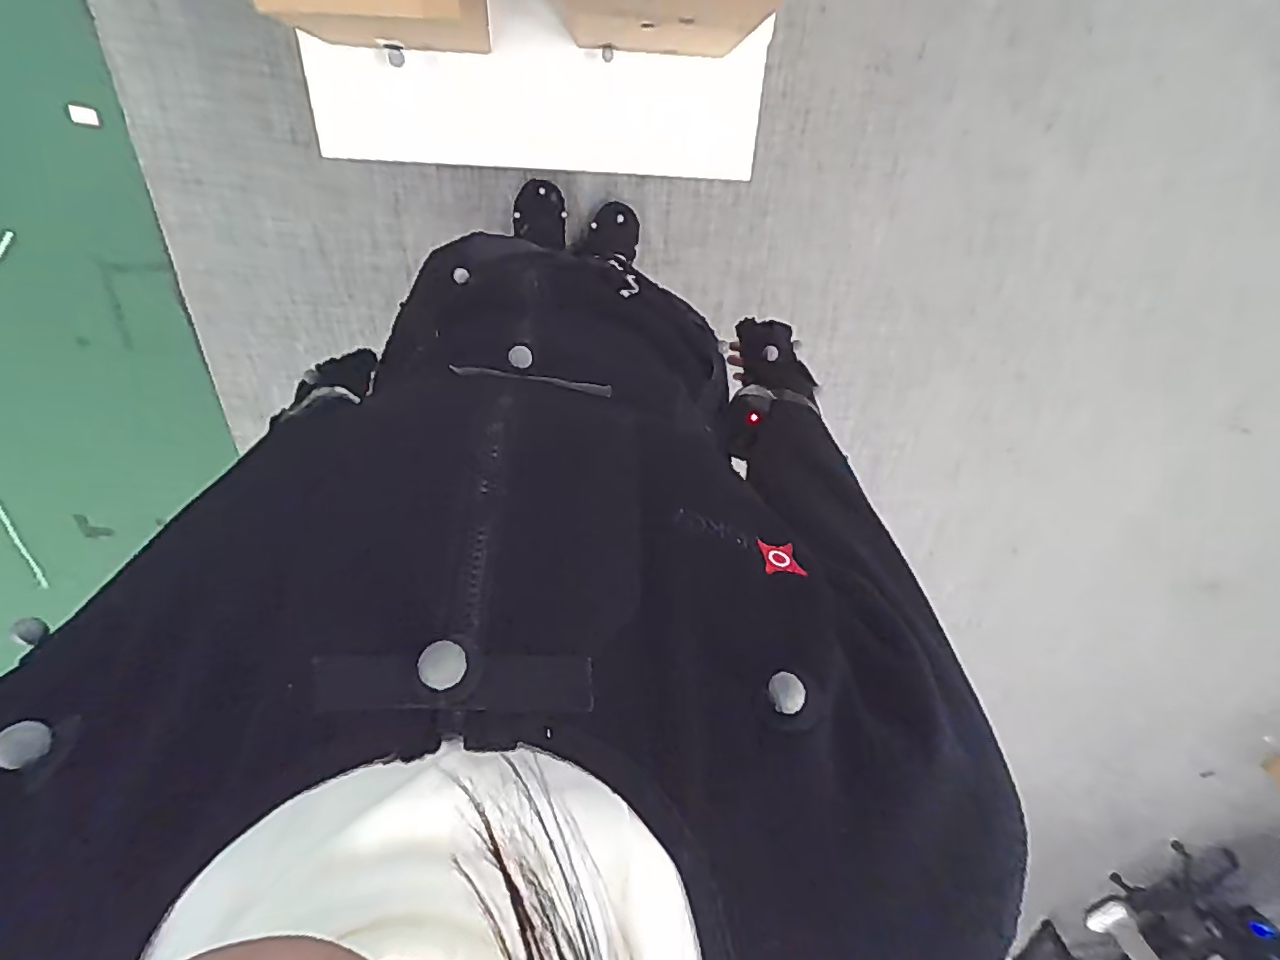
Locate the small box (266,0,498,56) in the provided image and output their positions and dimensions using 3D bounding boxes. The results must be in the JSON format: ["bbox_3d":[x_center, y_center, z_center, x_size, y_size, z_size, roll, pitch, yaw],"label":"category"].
[{"bbox_3d":[-0.229,-0.499,0.476,0.168,0.176,0.179,-2,122,-3],"label":"small box"}]

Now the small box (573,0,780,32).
[{"bbox_3d":[0.027,-0.424,0.346,0.168,0.176,0.179,1,120,-4],"label":"small box"}]
